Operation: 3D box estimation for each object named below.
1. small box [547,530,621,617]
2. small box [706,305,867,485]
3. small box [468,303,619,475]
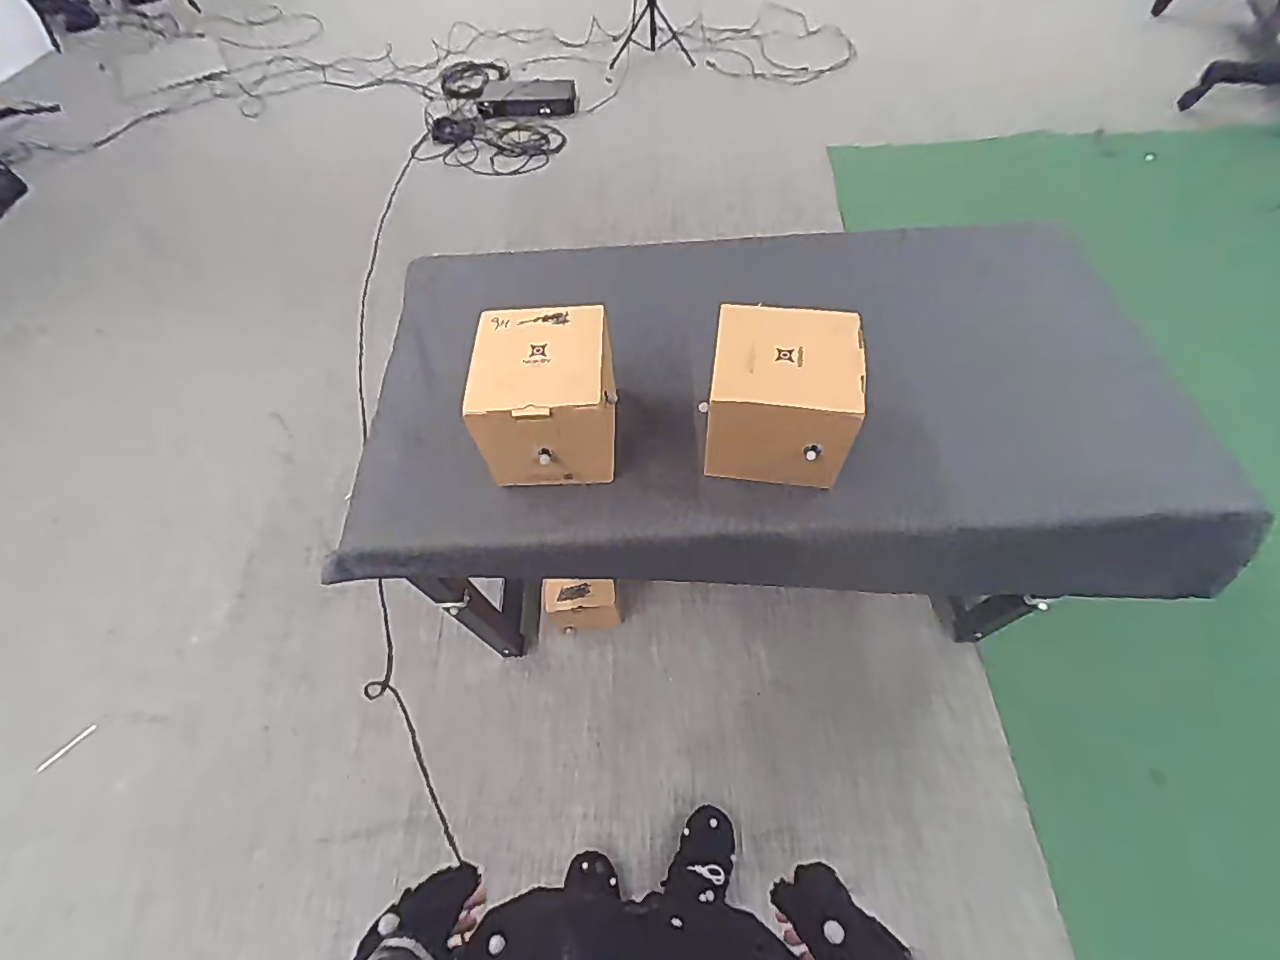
[{"bbox_3d":[-0.138,0.245,1.380,0.168,0.176,0.179,-5,60,0],"label":"small box"},{"bbox_3d":[0.187,-0.108,0.724,0.179,0.176,0.168,6,60,8],"label":"small box"},{"bbox_3d":[-0.118,-0.116,0.743,0.168,0.176,0.179,-1,60,2],"label":"small box"}]
